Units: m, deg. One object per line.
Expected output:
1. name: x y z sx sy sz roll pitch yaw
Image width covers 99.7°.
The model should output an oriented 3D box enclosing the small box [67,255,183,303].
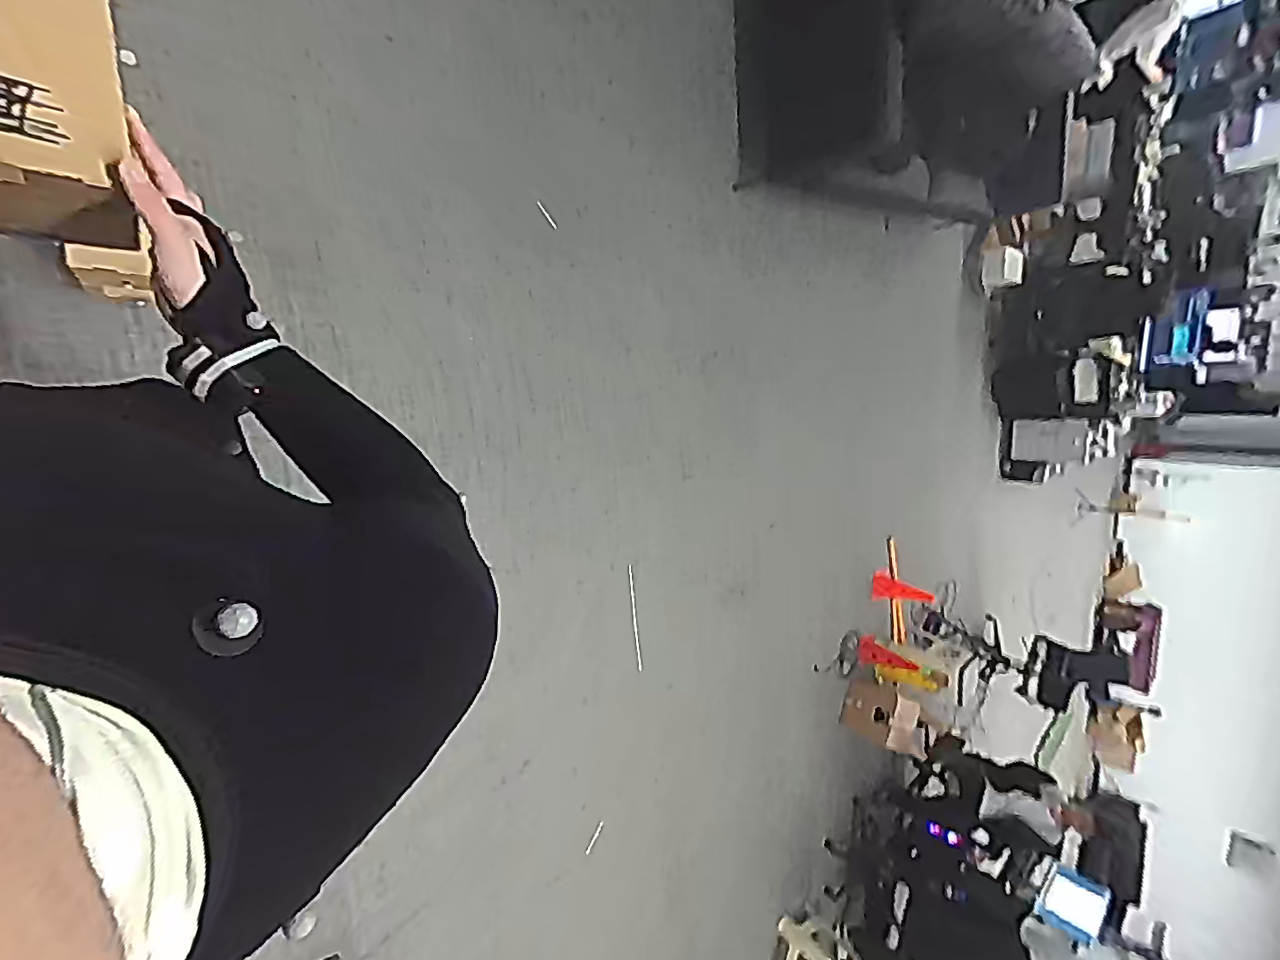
1. small box: -1.054 -0.481 1.120 0.168 0.176 0.179 2 97 -39

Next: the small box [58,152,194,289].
1. small box: -0.945 -0.466 1.003 0.168 0.176 0.179 -6 101 -41
